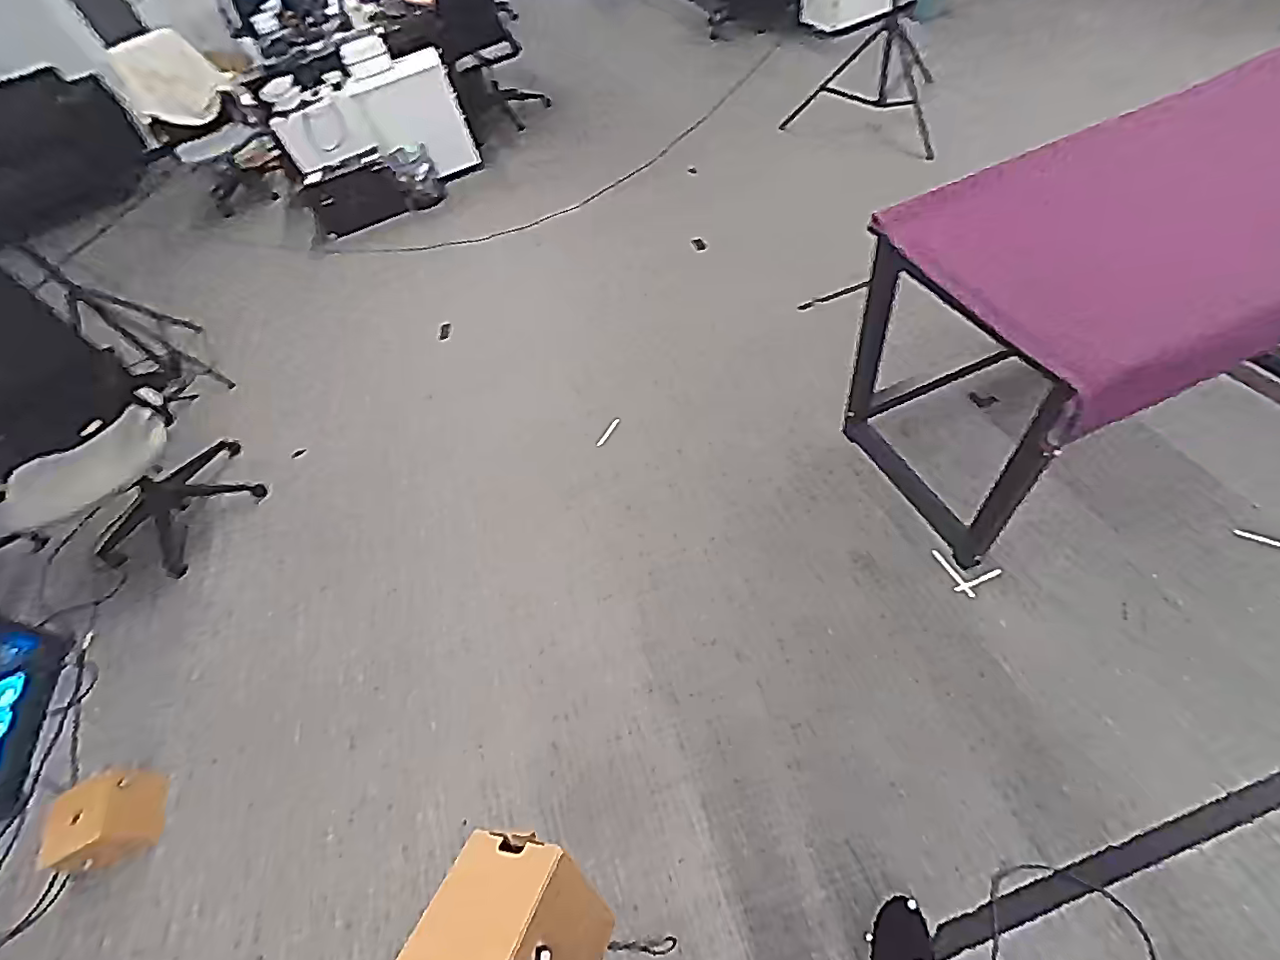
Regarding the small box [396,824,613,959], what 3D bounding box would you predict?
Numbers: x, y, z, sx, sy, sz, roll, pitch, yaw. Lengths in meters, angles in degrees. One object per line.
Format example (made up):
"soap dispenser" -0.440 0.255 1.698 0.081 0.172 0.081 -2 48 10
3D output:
"small box" -0.158 0.579 0.677 0.168 0.176 0.179 -13 23 32
